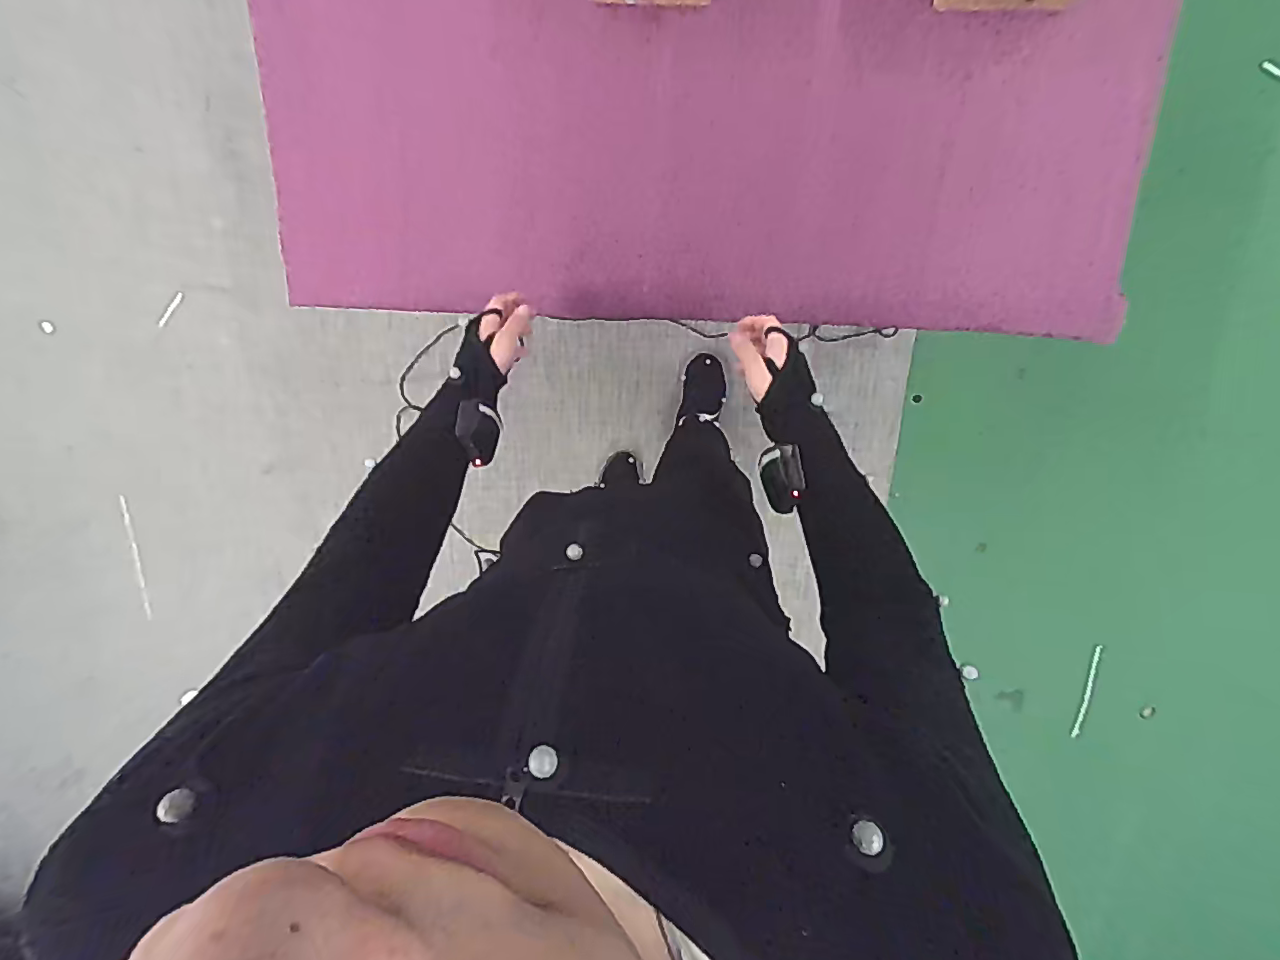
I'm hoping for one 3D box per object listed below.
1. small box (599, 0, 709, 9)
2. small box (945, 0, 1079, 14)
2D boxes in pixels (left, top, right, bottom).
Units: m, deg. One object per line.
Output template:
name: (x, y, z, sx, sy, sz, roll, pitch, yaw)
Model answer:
small box: (0.011, -0.687, 0.610, 0.168, 0.176, 0.179, 7, 106, 6)
small box: (0.443, -0.641, 0.566, 0.168, 0.176, 0.179, 5, 105, 7)
